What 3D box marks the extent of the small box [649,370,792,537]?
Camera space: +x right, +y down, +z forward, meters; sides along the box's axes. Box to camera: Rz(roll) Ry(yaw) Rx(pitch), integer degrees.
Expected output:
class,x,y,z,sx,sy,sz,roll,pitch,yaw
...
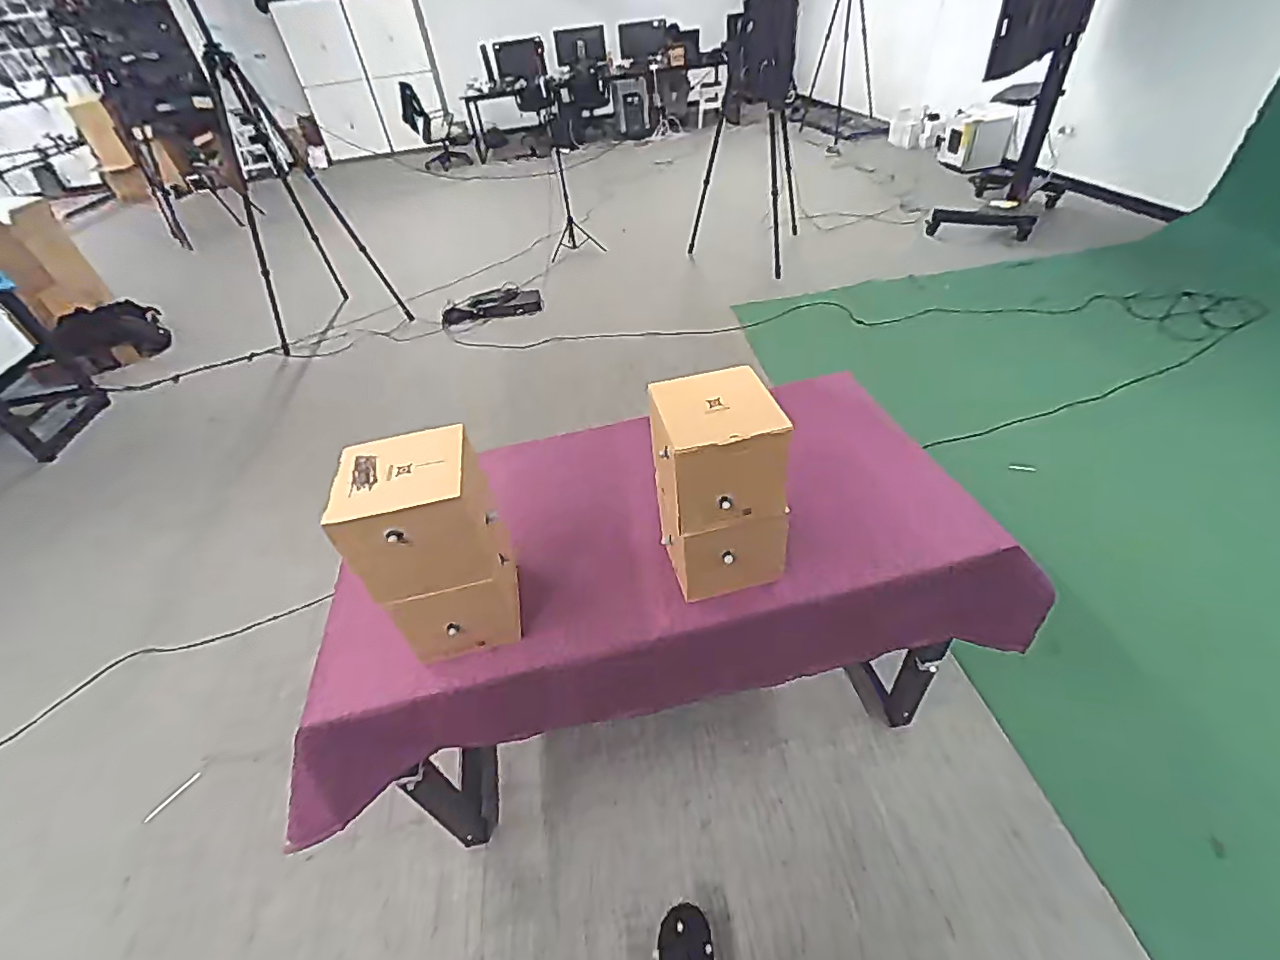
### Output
class,x,y,z,sx,sy,sz,roll,pitch,yaw
small box,0.114,-0.041,0.826,0.168,0.176,0.179,-12,42,-5

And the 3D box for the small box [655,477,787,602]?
class,x,y,z,sx,sy,sz,roll,pitch,yaw
small box,0.137,0.084,0.929,0.179,0.176,0.168,-14,42,-5

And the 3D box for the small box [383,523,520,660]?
class,x,y,z,sx,sy,sz,roll,pitch,yaw
small box,-0.300,0.176,0.897,0.168,0.176,0.179,-12,41,-5

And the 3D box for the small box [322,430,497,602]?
class,x,y,z,sx,sy,sz,roll,pitch,yaw
small box,-0.319,0.055,0.787,0.179,0.176,0.168,-12,42,-6
